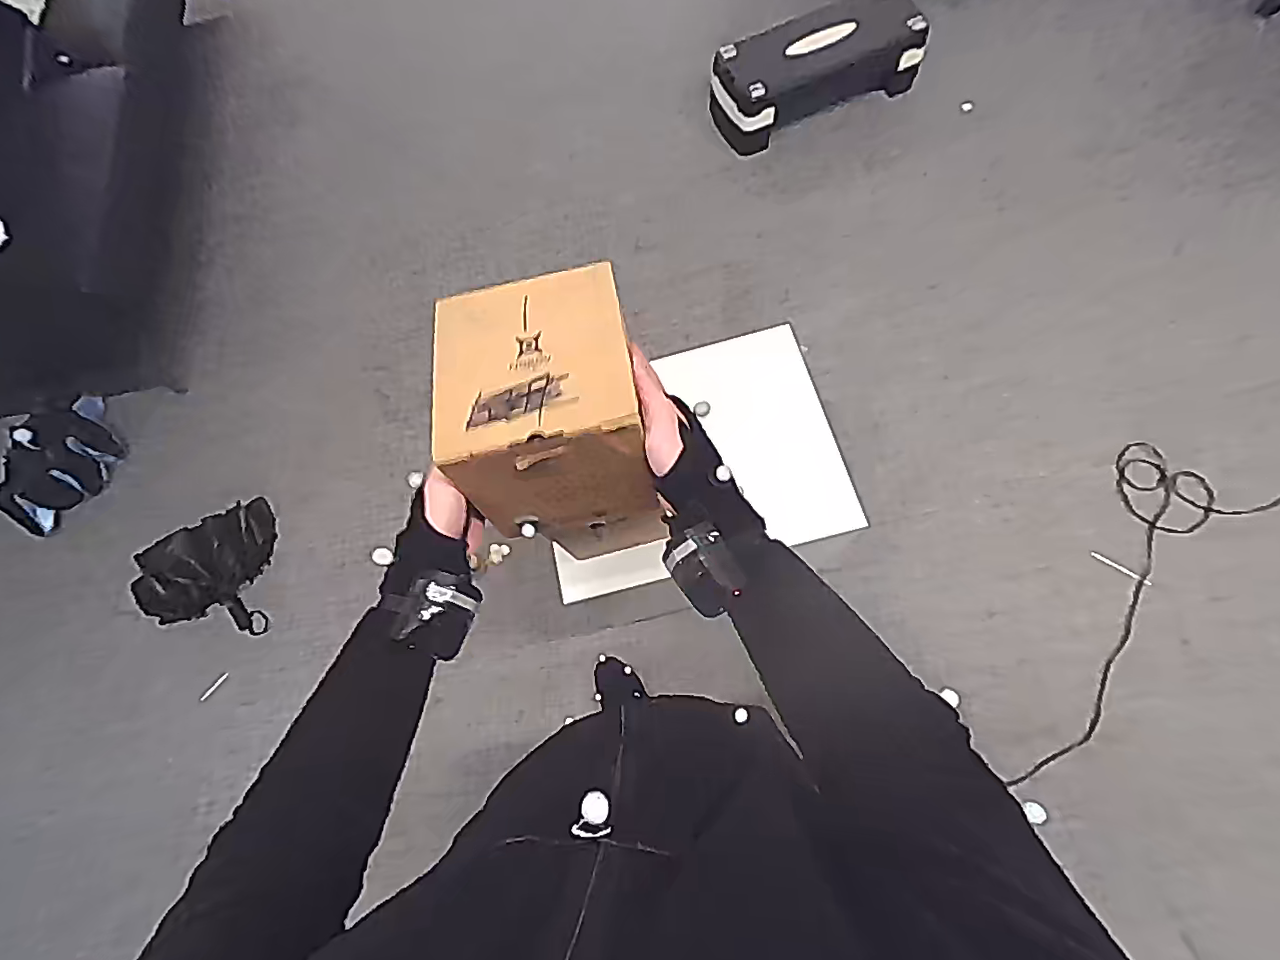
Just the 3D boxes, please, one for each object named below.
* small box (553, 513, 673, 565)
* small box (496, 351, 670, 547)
[{"bbox_3d":[-0.050,0.019,0.850,0.168,0.176,0.179,-15,69,2],"label":"small box"},{"bbox_3d":[-0.066,-0.030,0.696,0.168,0.176,0.179,-17,70,2],"label":"small box"}]
